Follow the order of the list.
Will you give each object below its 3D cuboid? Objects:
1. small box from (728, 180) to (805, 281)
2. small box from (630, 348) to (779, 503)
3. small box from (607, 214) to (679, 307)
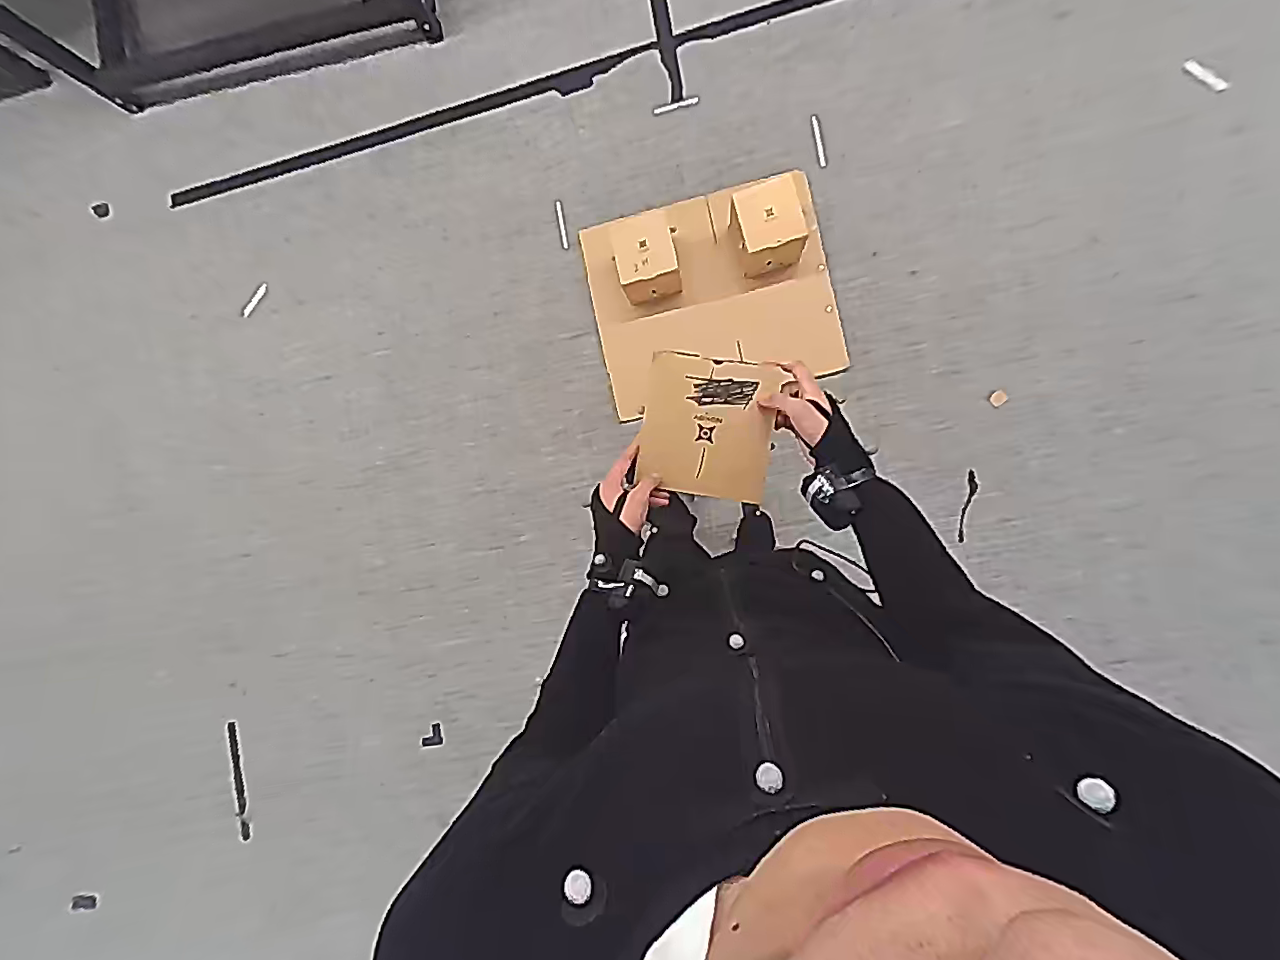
[{"bbox_3d":[0.348,-0.694,1.522,0.168,0.176,0.179,-16,87,8],"label":"small box"},{"bbox_3d":[0.086,-0.070,0.756,0.168,0.176,0.179,9,92,5],"label":"small box"},{"bbox_3d":[0.013,-0.624,1.559,0.168,0.176,0.179,-13,88,9],"label":"small box"}]
